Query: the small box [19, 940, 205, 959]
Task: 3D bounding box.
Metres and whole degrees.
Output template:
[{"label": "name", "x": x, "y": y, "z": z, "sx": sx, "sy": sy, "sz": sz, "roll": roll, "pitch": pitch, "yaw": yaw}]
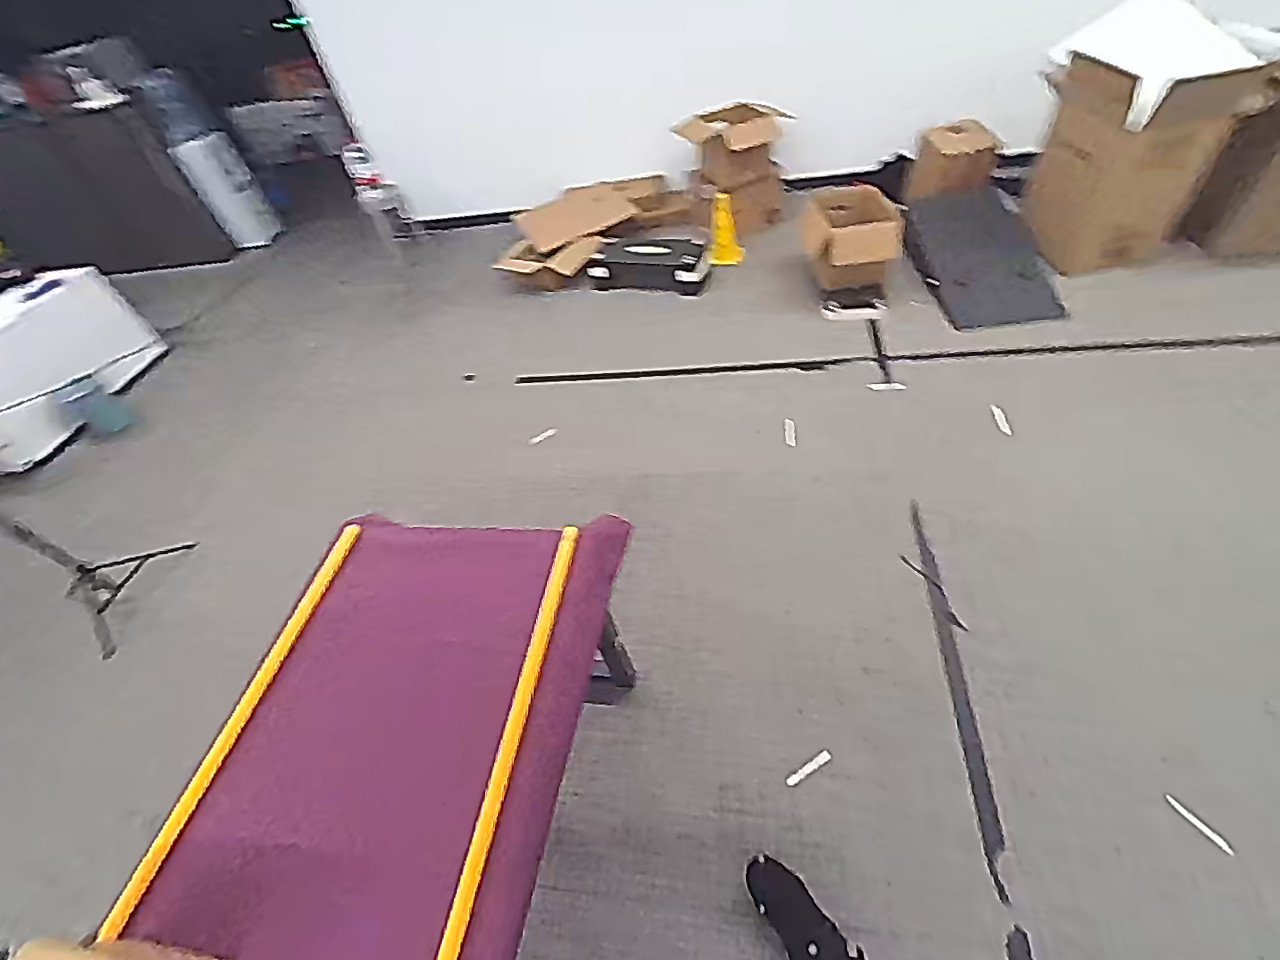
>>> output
[{"label": "small box", "x": -0.658, "y": 0.677, "z": 0.647, "sx": 0.179, "sy": 0.176, "sz": 0.168, "roll": 1, "pitch": 50, "yaw": 11}]
